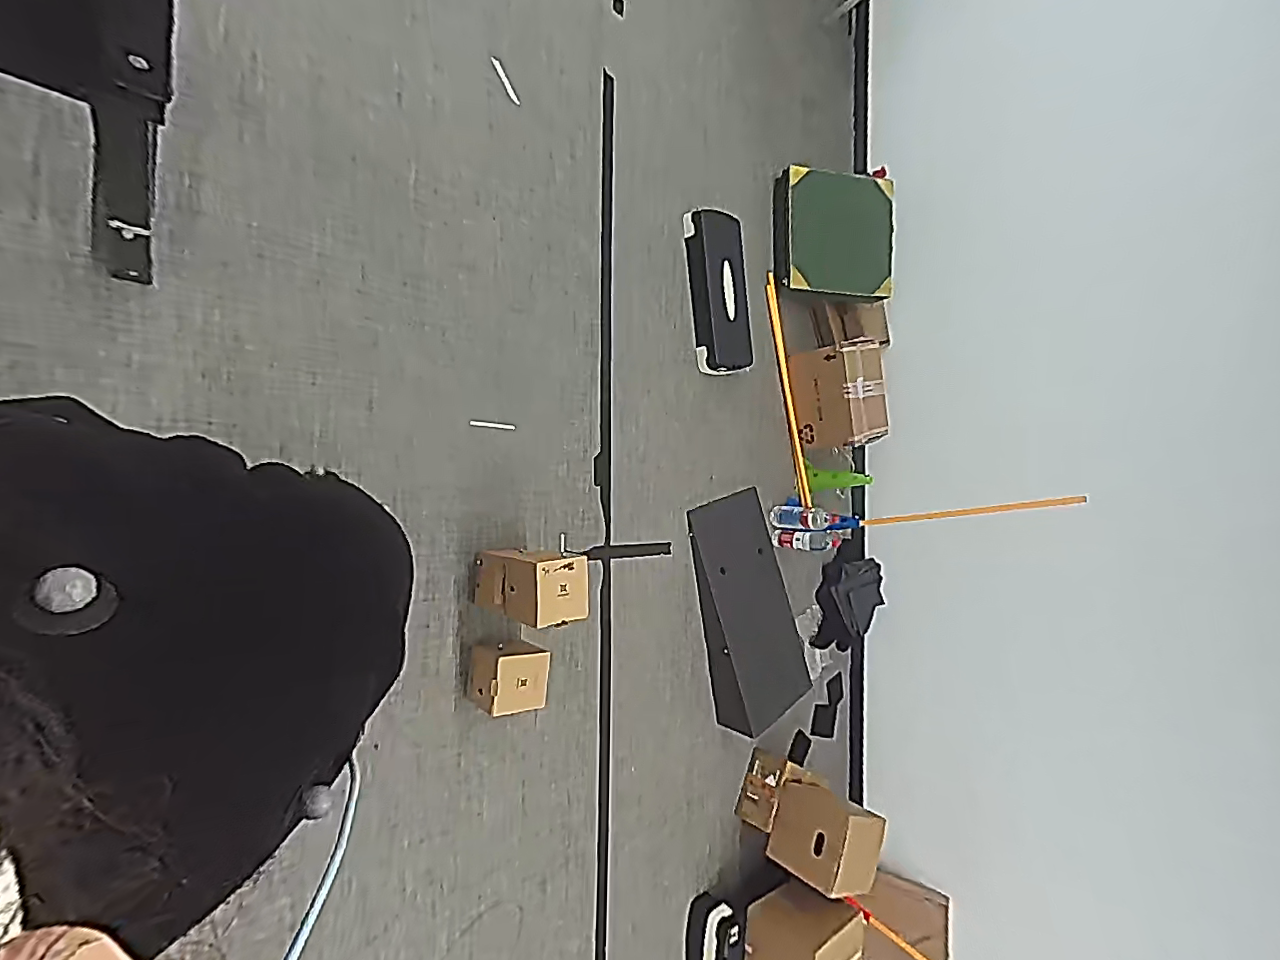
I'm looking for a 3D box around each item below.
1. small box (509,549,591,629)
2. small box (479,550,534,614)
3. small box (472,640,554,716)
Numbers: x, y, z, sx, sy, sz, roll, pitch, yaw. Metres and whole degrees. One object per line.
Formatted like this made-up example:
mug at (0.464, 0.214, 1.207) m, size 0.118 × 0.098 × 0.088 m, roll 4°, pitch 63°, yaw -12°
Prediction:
small box at (-0.252, 0.295, 1.501) m, size 0.168 × 0.176 × 0.179 m, roll -2°, pitch 92°, yaw -43°
small box at (-0.366, 0.300, 1.620) m, size 0.179 × 0.176 × 0.168 m, roll 5°, pitch 87°, yaw -43°
small box at (-0.380, 0.582, 1.609) m, size 0.179 × 0.176 × 0.168 m, roll 9°, pitch 84°, yaw -43°
